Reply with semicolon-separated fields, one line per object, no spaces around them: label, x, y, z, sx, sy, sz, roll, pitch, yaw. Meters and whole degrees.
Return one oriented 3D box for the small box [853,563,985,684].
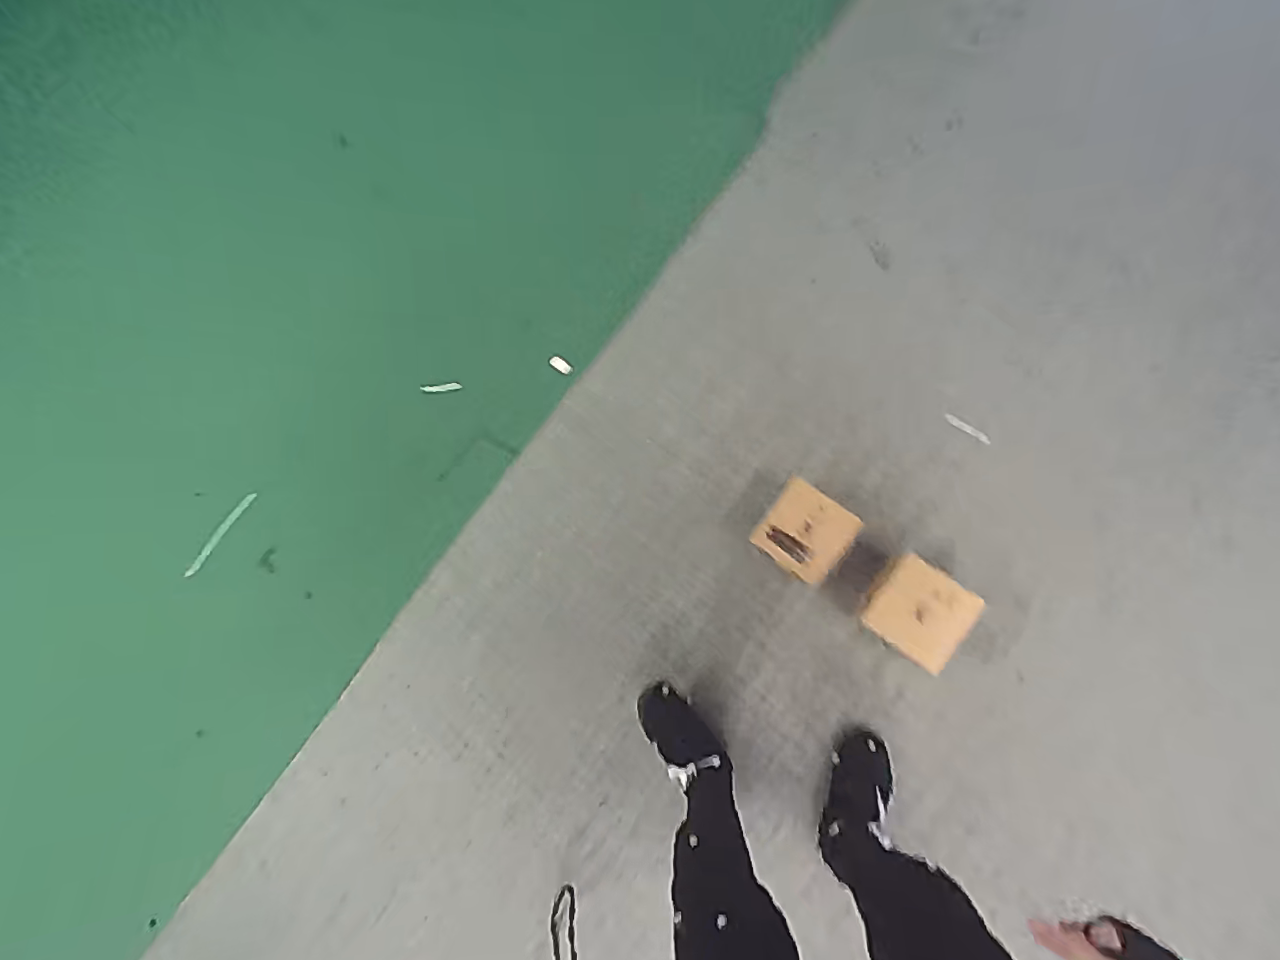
small box;0.573;0.297;1.140;0.168;0.176;0.179;37;87;16
